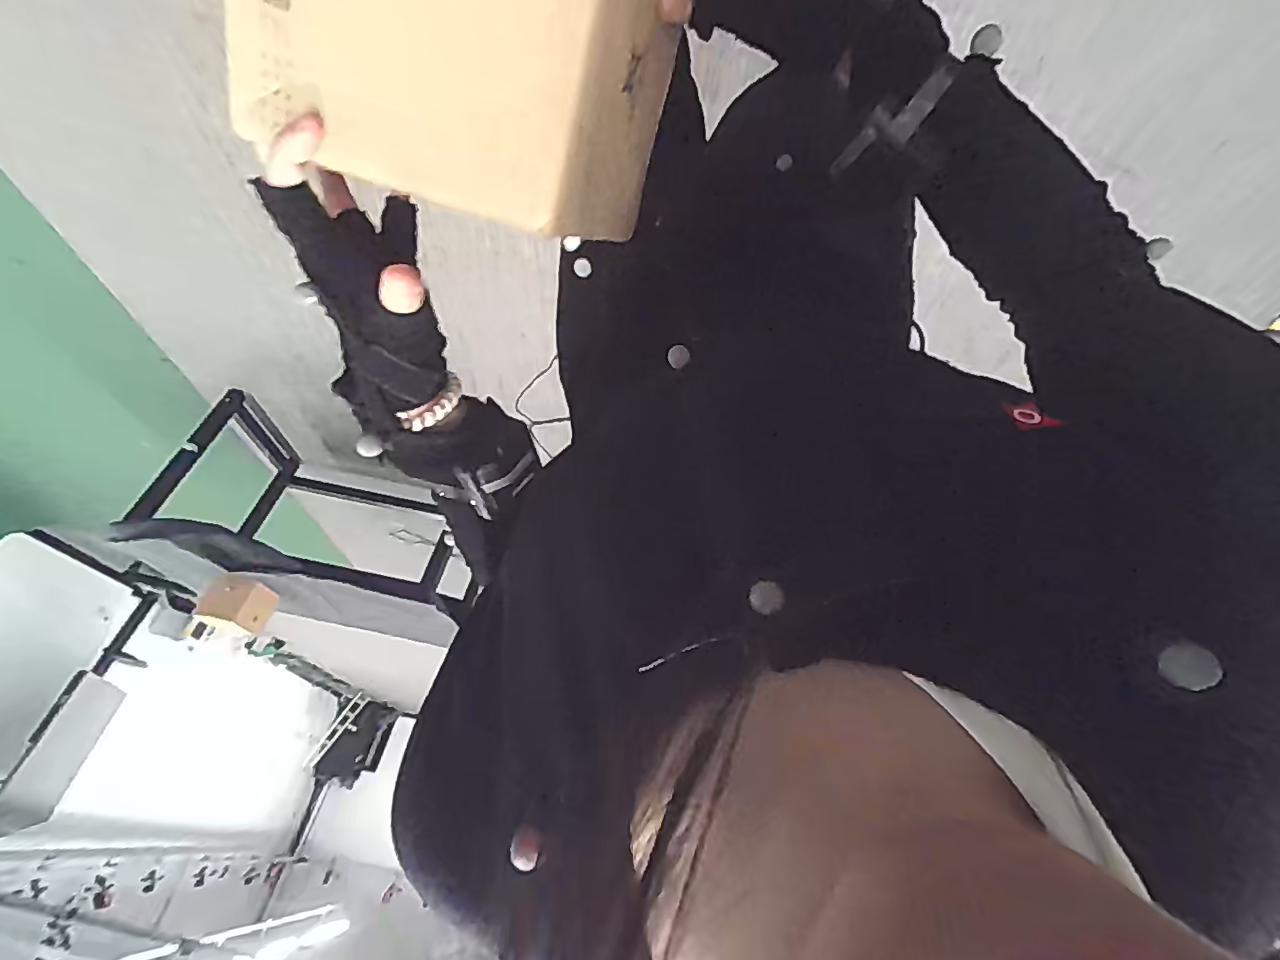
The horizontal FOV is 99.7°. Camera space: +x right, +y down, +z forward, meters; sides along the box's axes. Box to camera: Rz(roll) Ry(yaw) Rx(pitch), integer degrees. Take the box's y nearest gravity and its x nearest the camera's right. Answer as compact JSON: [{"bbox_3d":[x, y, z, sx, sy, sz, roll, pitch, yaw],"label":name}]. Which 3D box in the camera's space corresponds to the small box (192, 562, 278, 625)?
[{"bbox_3d":[-1.535,0.435,2.065,0.168,0.176,0.179,9,148,4],"label":"small box"}]

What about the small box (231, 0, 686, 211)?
[{"bbox_3d":[-0.075,-0.255,0.282,0.176,0.179,0.168,19,117,2],"label":"small box"}]
